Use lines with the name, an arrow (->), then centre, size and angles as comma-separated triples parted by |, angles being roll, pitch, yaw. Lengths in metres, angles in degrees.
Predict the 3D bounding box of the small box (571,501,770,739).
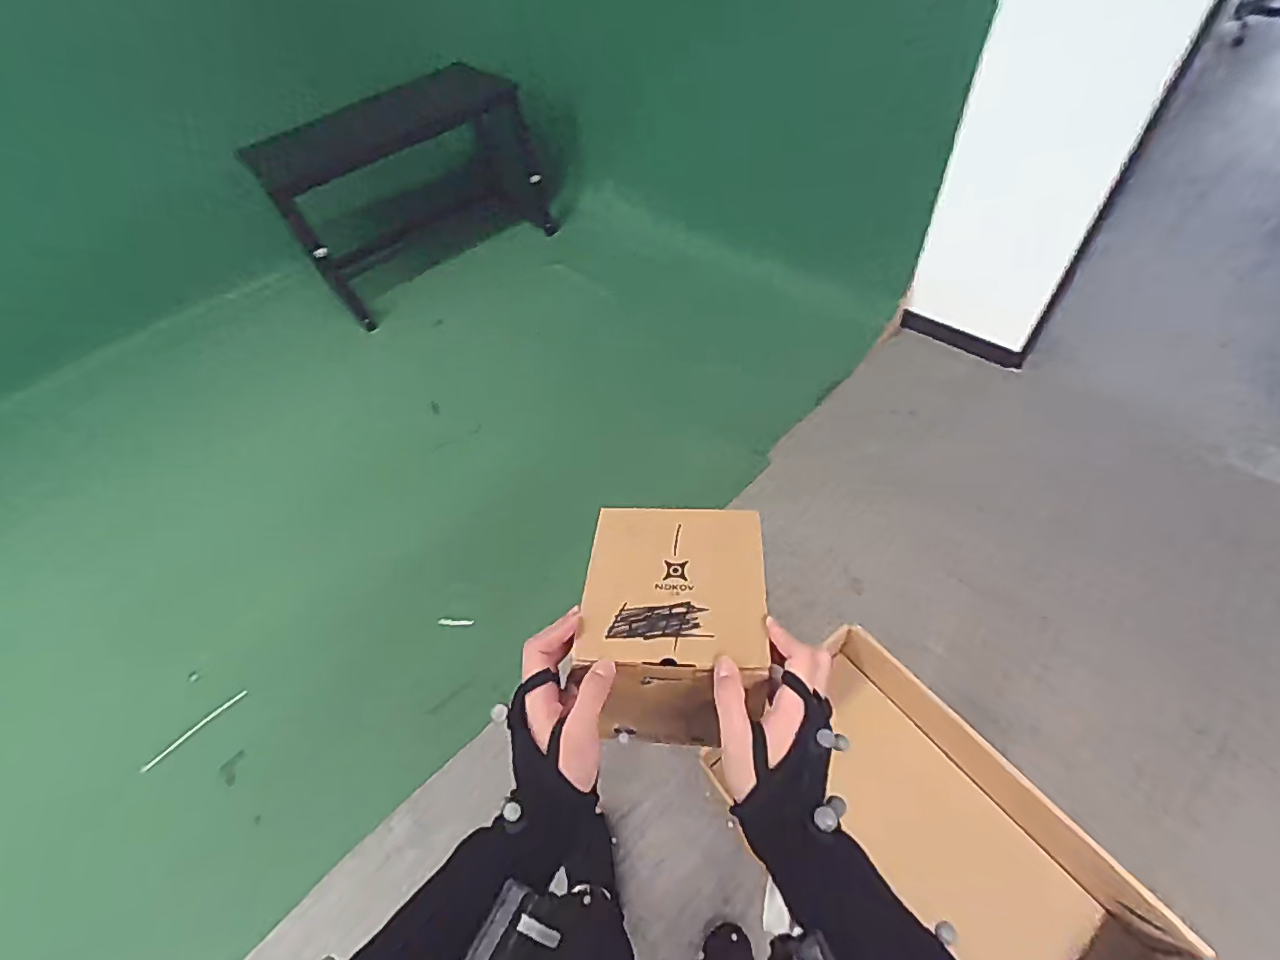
small box -> 0.038, 0.141, 0.546 | 0.168, 0.176, 0.179 | 1, 44, 7
